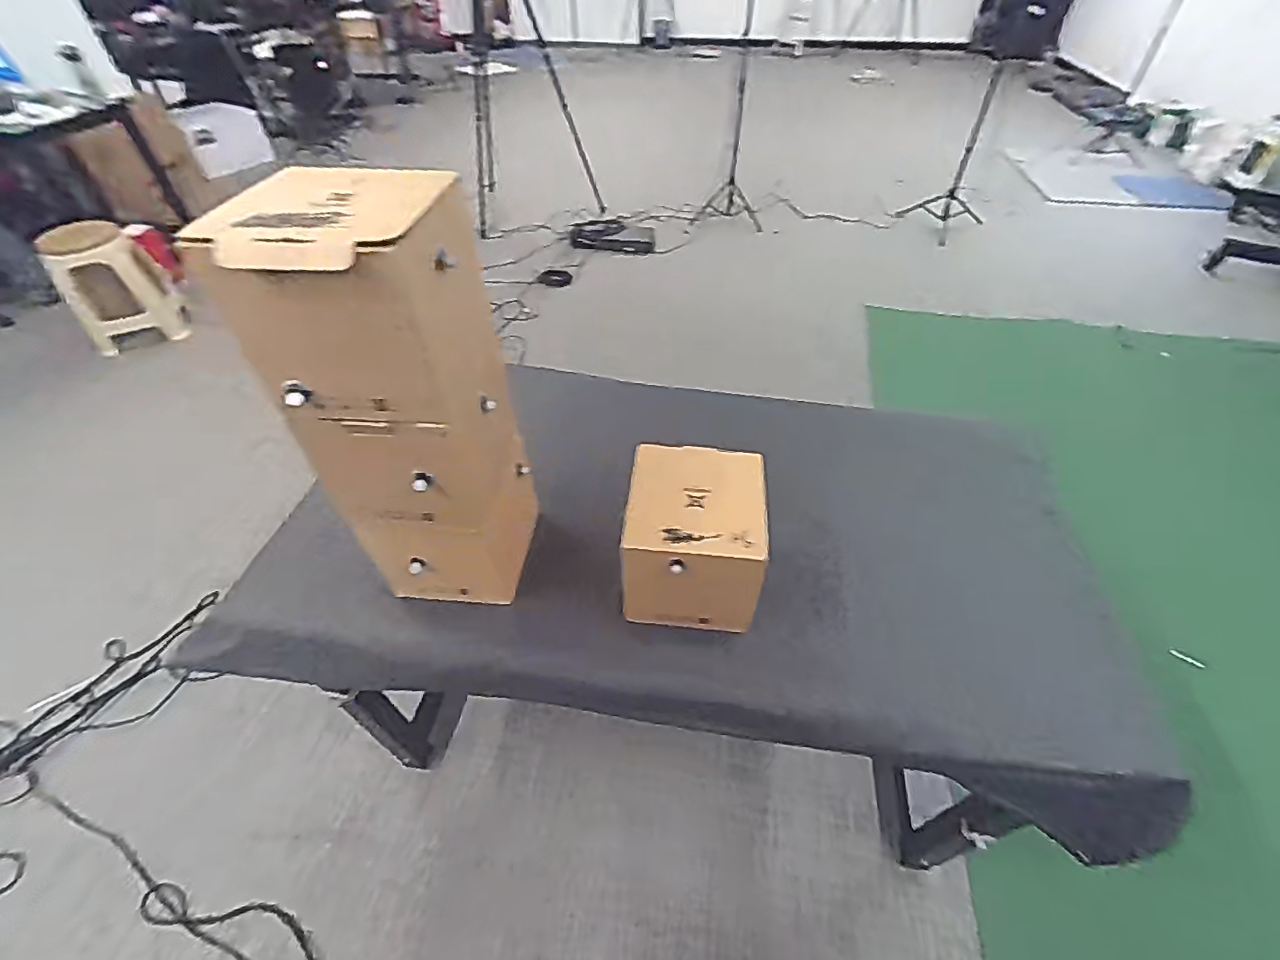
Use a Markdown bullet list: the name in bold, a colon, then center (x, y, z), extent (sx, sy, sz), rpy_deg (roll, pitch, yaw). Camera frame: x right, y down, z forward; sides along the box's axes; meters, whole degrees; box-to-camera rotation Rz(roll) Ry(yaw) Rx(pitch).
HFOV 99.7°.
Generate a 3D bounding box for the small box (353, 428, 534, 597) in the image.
- **small box**: center (-0.252, 0.043, 0.747), extent (0.168, 0.176, 0.179), rpy_deg (4, 46, 3)

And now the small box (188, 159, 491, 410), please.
- **small box**: center (-0.249, -0.182, 0.509), extent (0.168, 0.176, 0.179), rpy_deg (3, 46, 1)

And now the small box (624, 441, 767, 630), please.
- **small box**: center (0.070, 0.073, 0.721), extent (0.168, 0.176, 0.179), rpy_deg (5, 46, 4)

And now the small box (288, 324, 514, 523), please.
- **small box**: center (-0.252, -0.067, 0.628), extent (0.168, 0.176, 0.179), rpy_deg (4, 45, 2)
